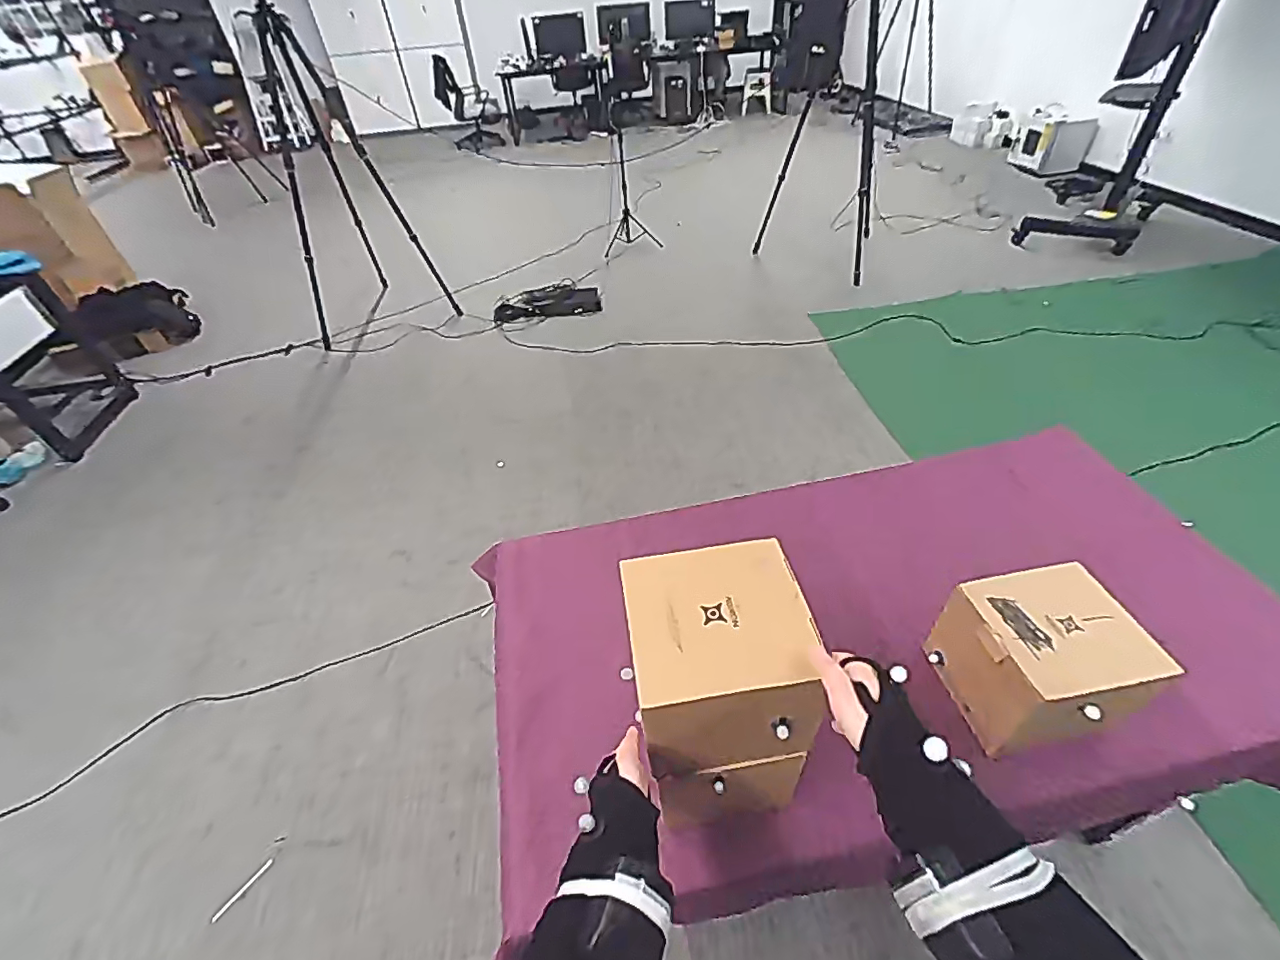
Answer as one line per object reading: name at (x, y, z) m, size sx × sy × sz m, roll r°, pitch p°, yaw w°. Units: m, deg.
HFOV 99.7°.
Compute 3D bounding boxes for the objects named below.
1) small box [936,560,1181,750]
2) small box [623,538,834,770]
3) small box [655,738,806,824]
small box at (0.524, 0.235, 0.717) m, size 0.179 × 0.176 × 0.168 m, roll -10°, pitch 43°, yaw -4°
small box at (0.082, 0.187, 0.580) m, size 0.179 × 0.176 × 0.168 m, roll -9°, pitch 43°, yaw -2°
small box at (0.094, 0.306, 0.692) m, size 0.168 × 0.176 × 0.179 m, roll -9°, pitch 43°, yaw -2°
